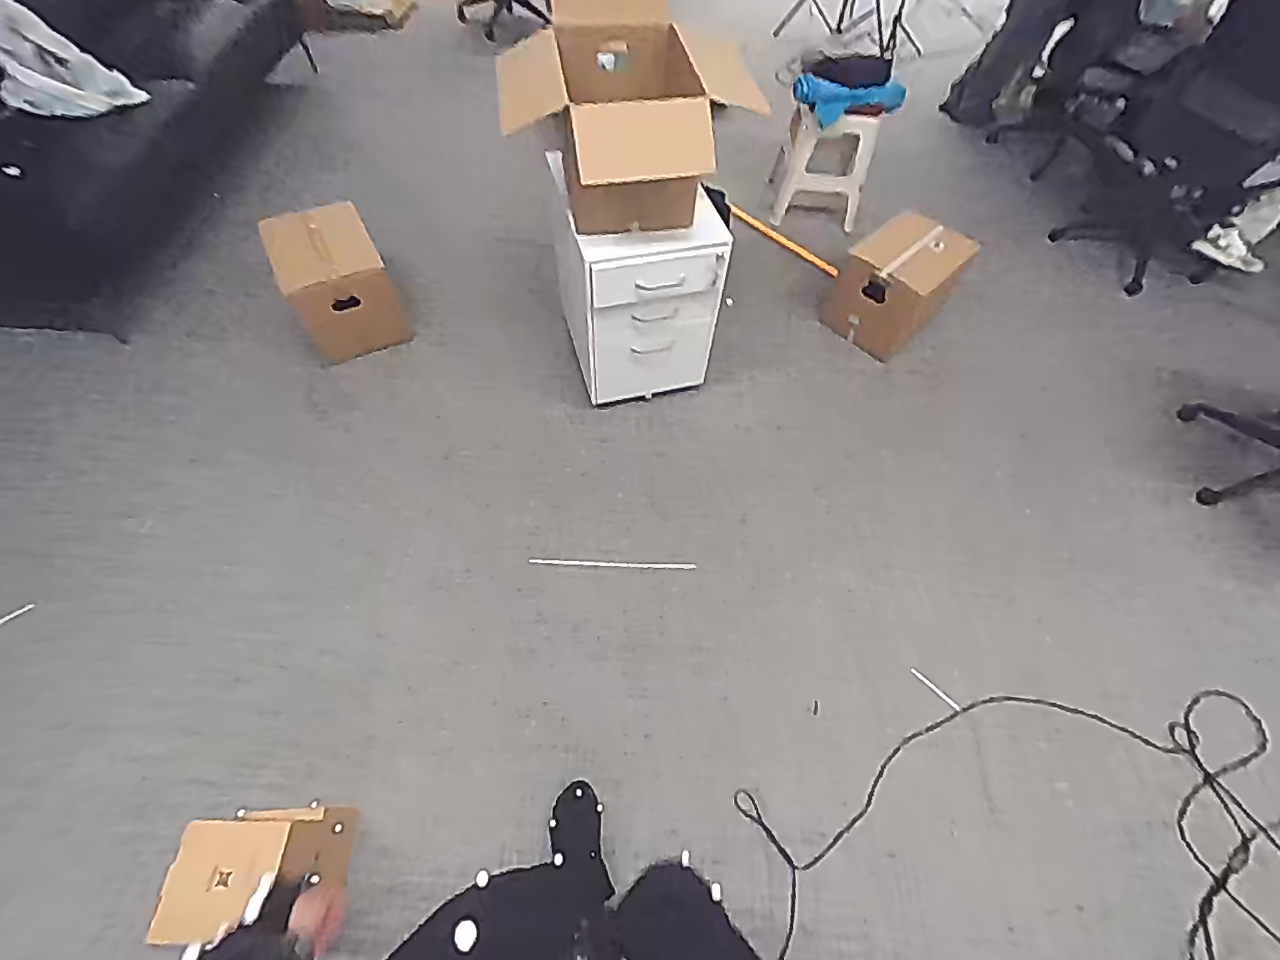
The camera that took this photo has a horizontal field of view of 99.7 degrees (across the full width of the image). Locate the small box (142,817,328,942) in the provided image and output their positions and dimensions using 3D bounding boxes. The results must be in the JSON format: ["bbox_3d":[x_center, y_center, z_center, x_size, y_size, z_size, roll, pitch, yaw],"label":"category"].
[{"bbox_3d":[-0.694,0.694,0.953,0.179,0.176,0.168,2,58,-3],"label":"small box"}]
